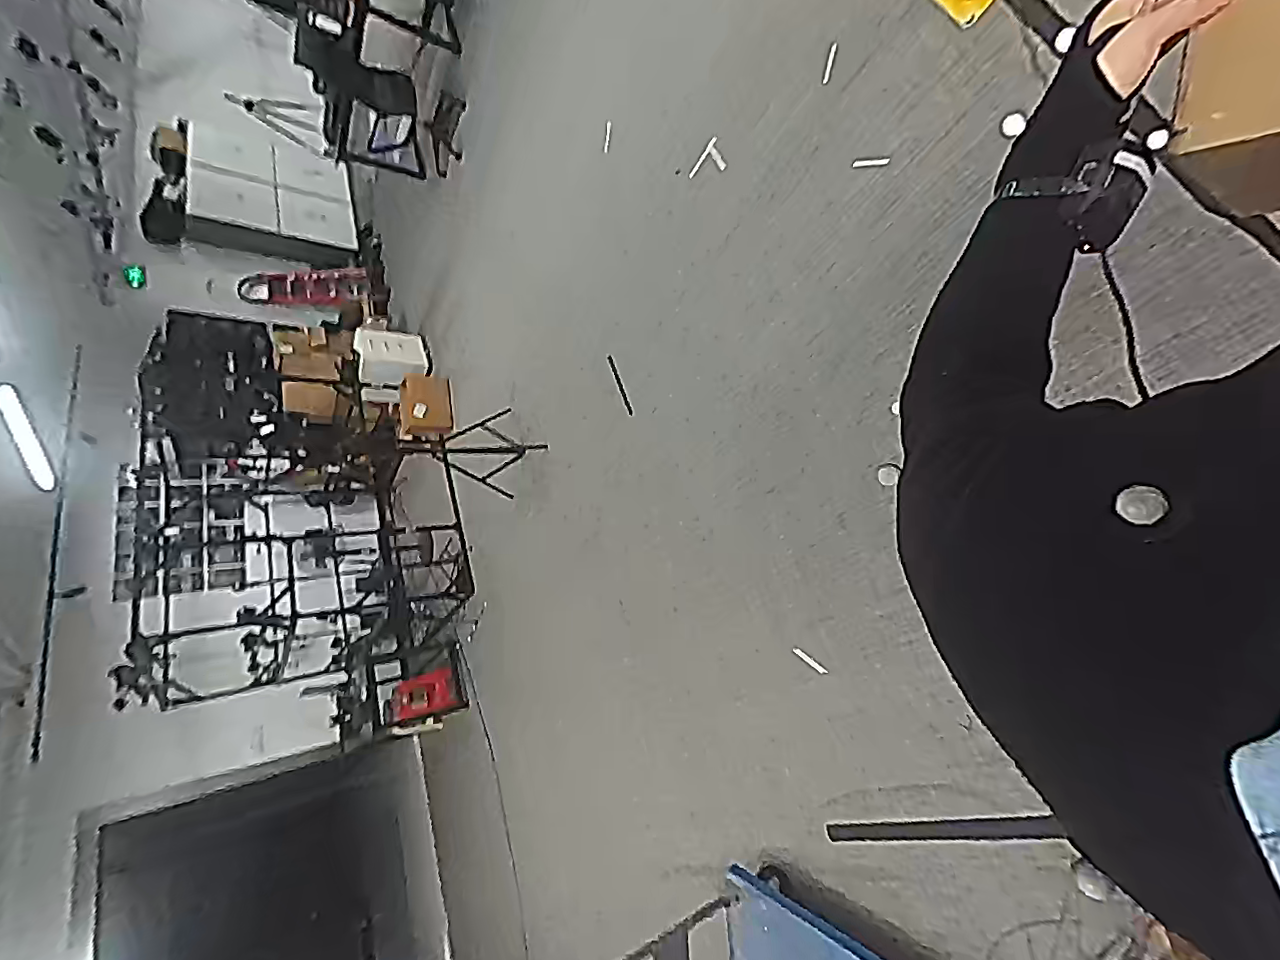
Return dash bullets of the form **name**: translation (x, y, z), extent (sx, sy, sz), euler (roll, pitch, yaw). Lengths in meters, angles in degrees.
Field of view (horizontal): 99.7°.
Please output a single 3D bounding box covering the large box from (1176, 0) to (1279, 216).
- **large box**: translation (0.638, -0.382, 0.308), extent (0.408, 0.320, 0.320), euler (13, 107, 54)
